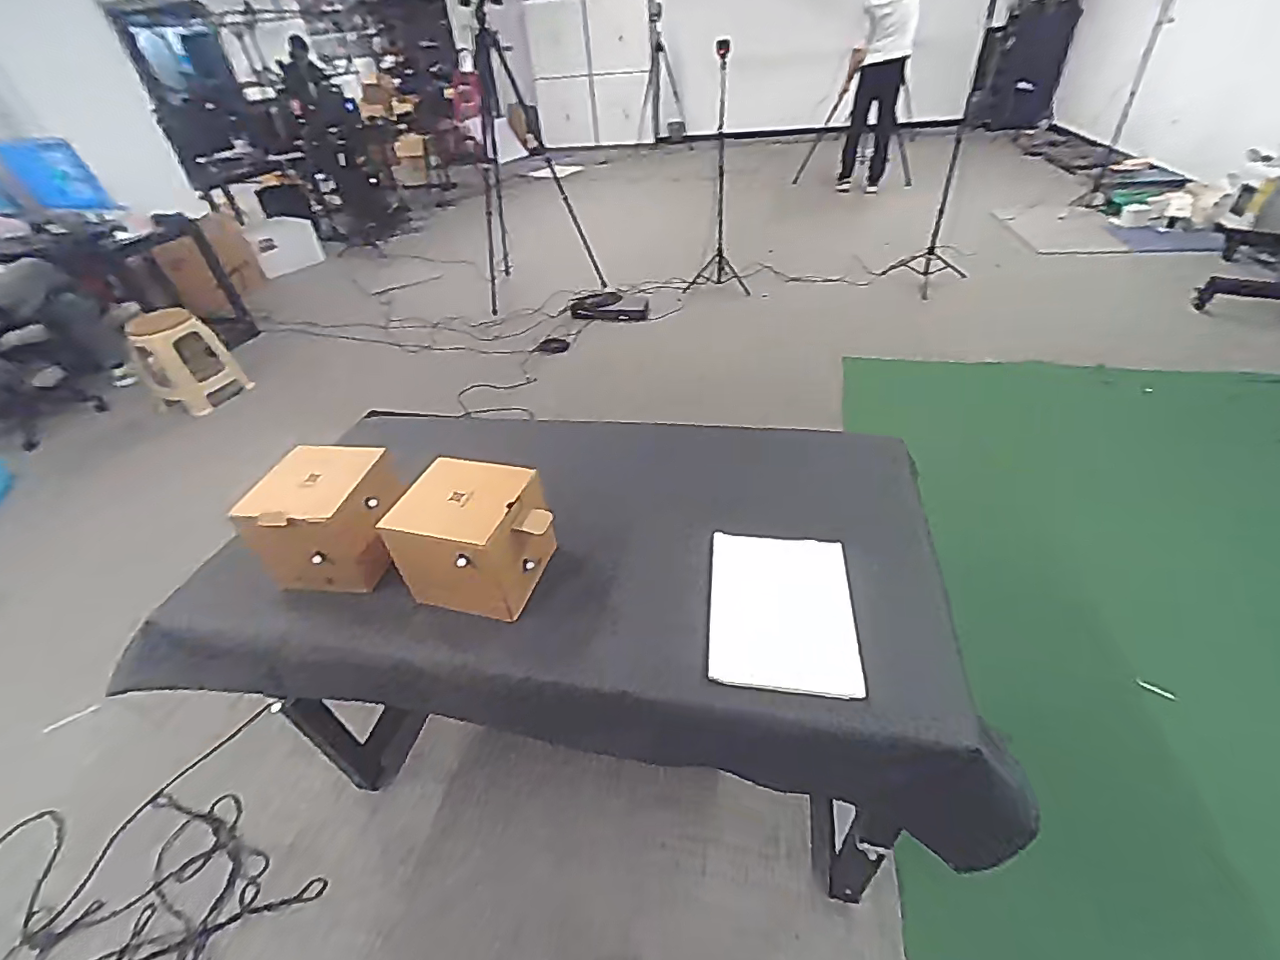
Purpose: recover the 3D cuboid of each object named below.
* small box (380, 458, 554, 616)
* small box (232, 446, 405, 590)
[{"bbox_3d":[-0.252,0.087,0.833,0.179,0.176,0.168,7,40,15],"label":"small box"},{"bbox_3d":[-0.503,0.062,0.893,0.168,0.176,0.179,2,39,8],"label":"small box"}]
